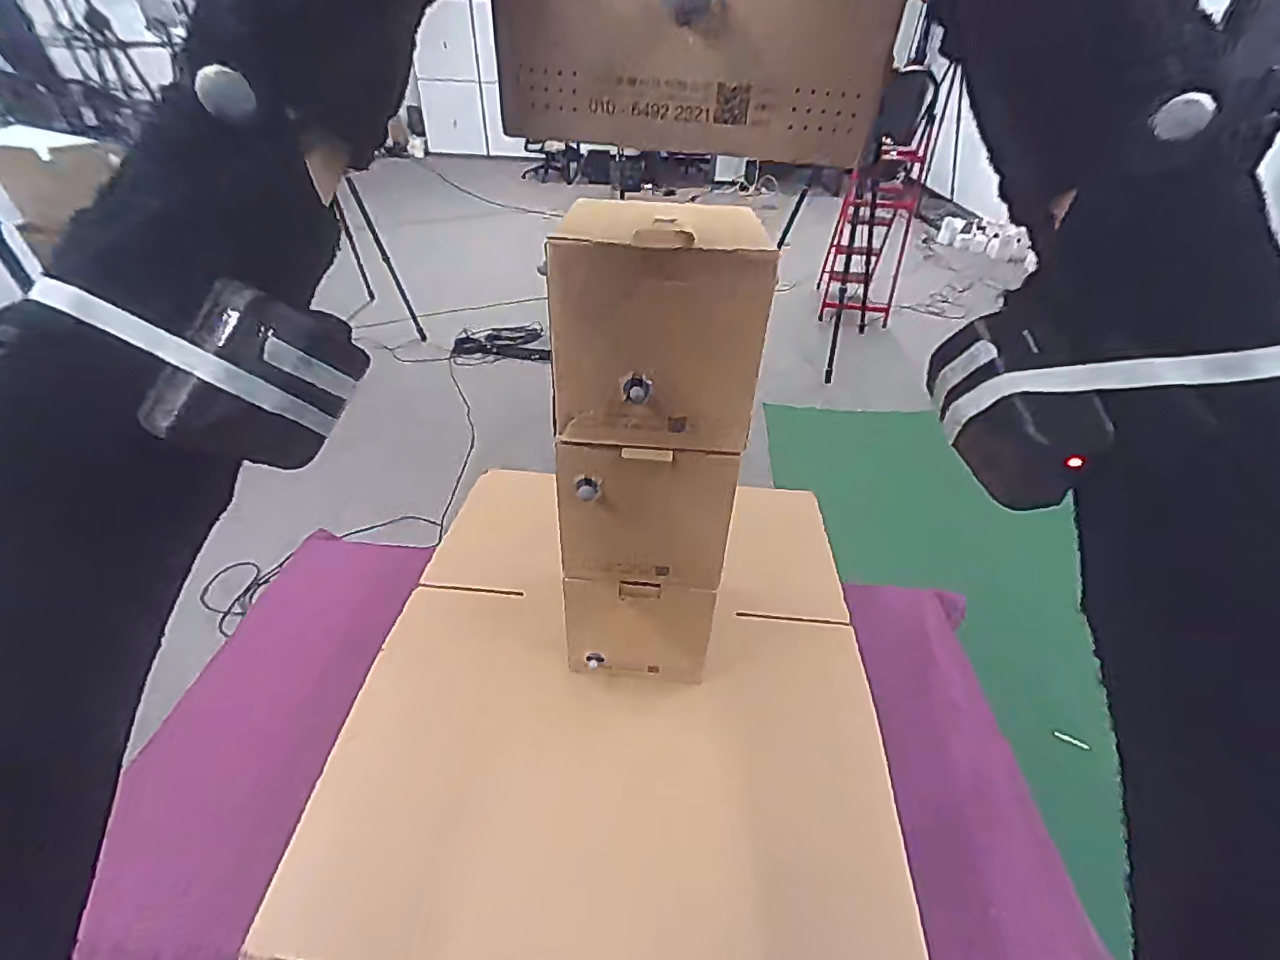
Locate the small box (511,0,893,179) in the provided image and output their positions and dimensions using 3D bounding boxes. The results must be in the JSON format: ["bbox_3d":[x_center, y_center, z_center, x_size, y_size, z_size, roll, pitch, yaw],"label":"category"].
[{"bbox_3d":[0.033,-0.268,0.271,0.168,0.176,0.179,7,40,3],"label":"small box"}]

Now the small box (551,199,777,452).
[{"bbox_3d":[0.016,-0.146,0.497,0.168,0.176,0.179,4,36,1],"label":"small box"}]

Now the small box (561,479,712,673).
[{"bbox_3d":[0.002,0.121,0.687,0.168,0.176,0.179,5,36,2],"label":"small box"}]
